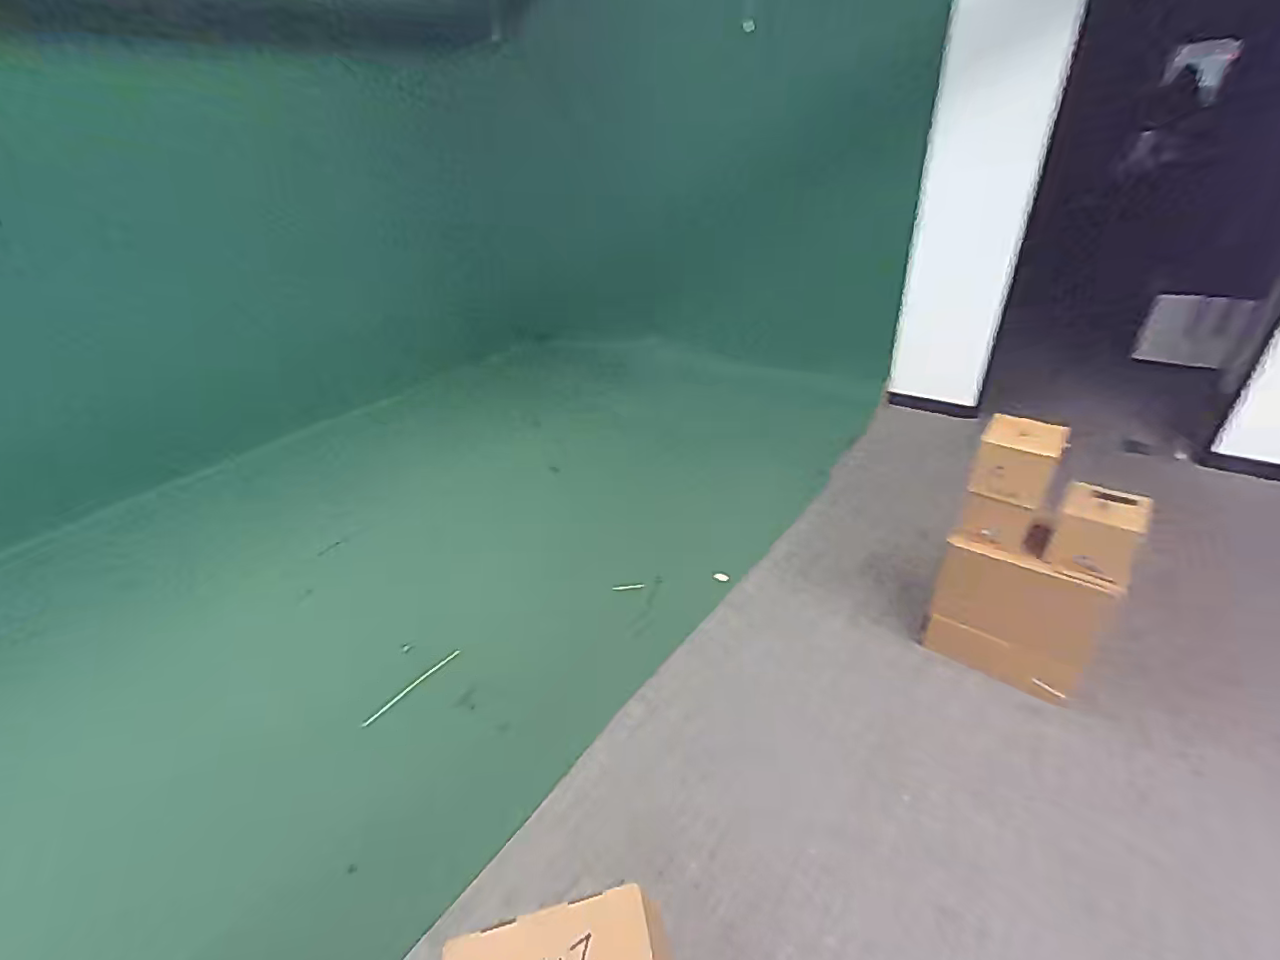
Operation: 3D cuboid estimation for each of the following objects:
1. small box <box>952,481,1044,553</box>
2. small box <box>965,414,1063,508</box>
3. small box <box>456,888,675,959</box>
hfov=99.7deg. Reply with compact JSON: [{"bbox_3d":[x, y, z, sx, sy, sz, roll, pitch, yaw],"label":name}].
[{"bbox_3d":[1.025,0.077,1.558,0.168,0.176,0.179,23,45,34],"label":"small box"},{"bbox_3d":[1.003,-0.051,1.459,0.168,0.176,0.179,22,44,33],"label":"small box"},{"bbox_3d":[-0.046,0.475,0.447,0.168,0.176,0.179,-13,44,-3],"label":"small box"}]
